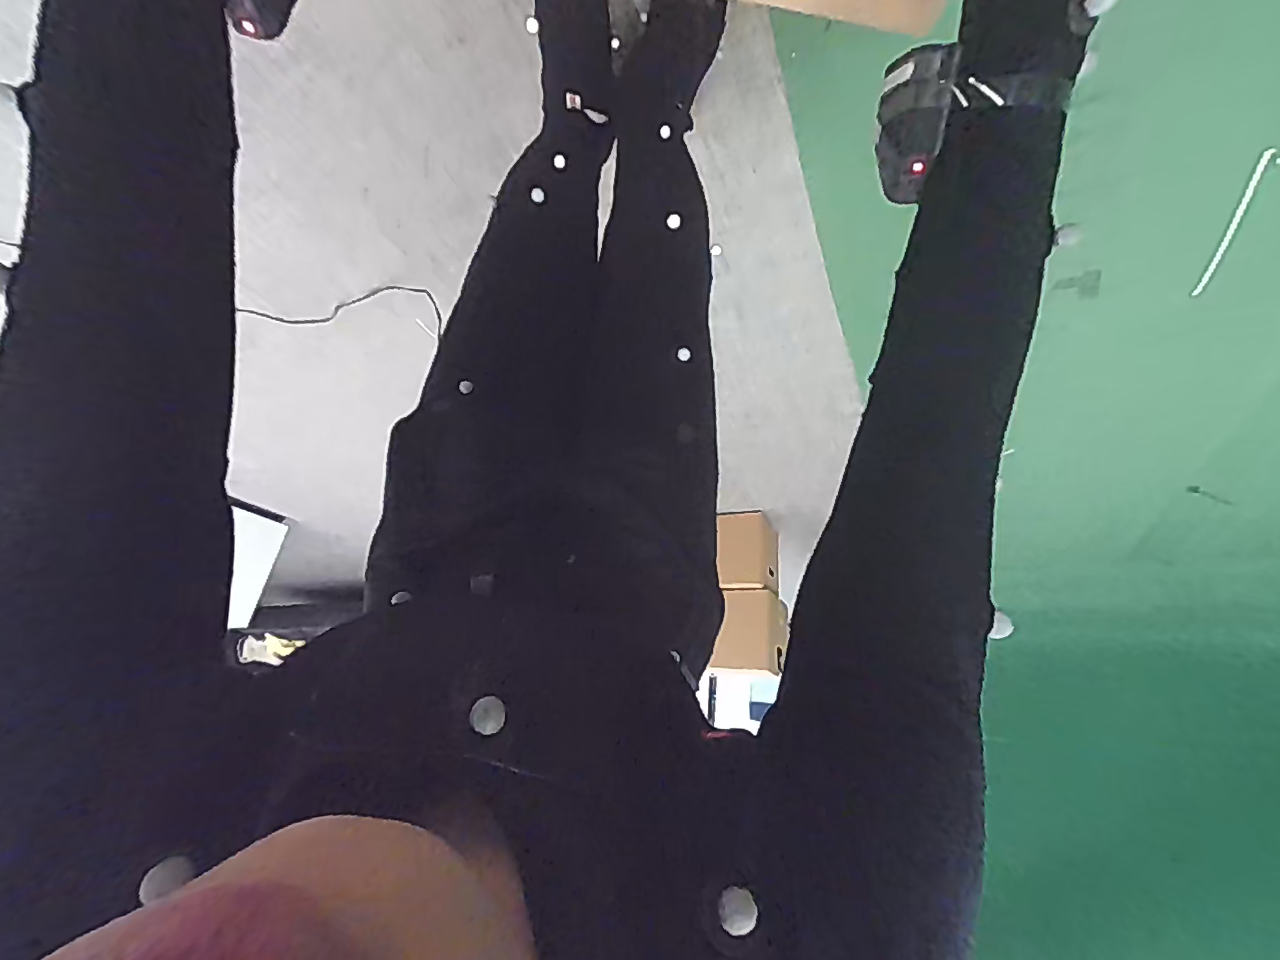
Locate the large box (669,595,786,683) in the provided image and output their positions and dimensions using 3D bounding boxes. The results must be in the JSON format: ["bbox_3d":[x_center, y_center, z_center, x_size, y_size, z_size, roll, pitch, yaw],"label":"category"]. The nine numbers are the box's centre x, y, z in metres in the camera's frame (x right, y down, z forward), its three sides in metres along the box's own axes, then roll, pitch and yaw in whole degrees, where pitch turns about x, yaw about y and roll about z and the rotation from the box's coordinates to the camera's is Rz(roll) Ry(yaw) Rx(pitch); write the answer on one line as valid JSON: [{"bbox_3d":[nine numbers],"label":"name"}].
[{"bbox_3d":[0.367,0.660,2.241,0.408,0.320,0.320,-7,153,26],"label":"large box"}]
